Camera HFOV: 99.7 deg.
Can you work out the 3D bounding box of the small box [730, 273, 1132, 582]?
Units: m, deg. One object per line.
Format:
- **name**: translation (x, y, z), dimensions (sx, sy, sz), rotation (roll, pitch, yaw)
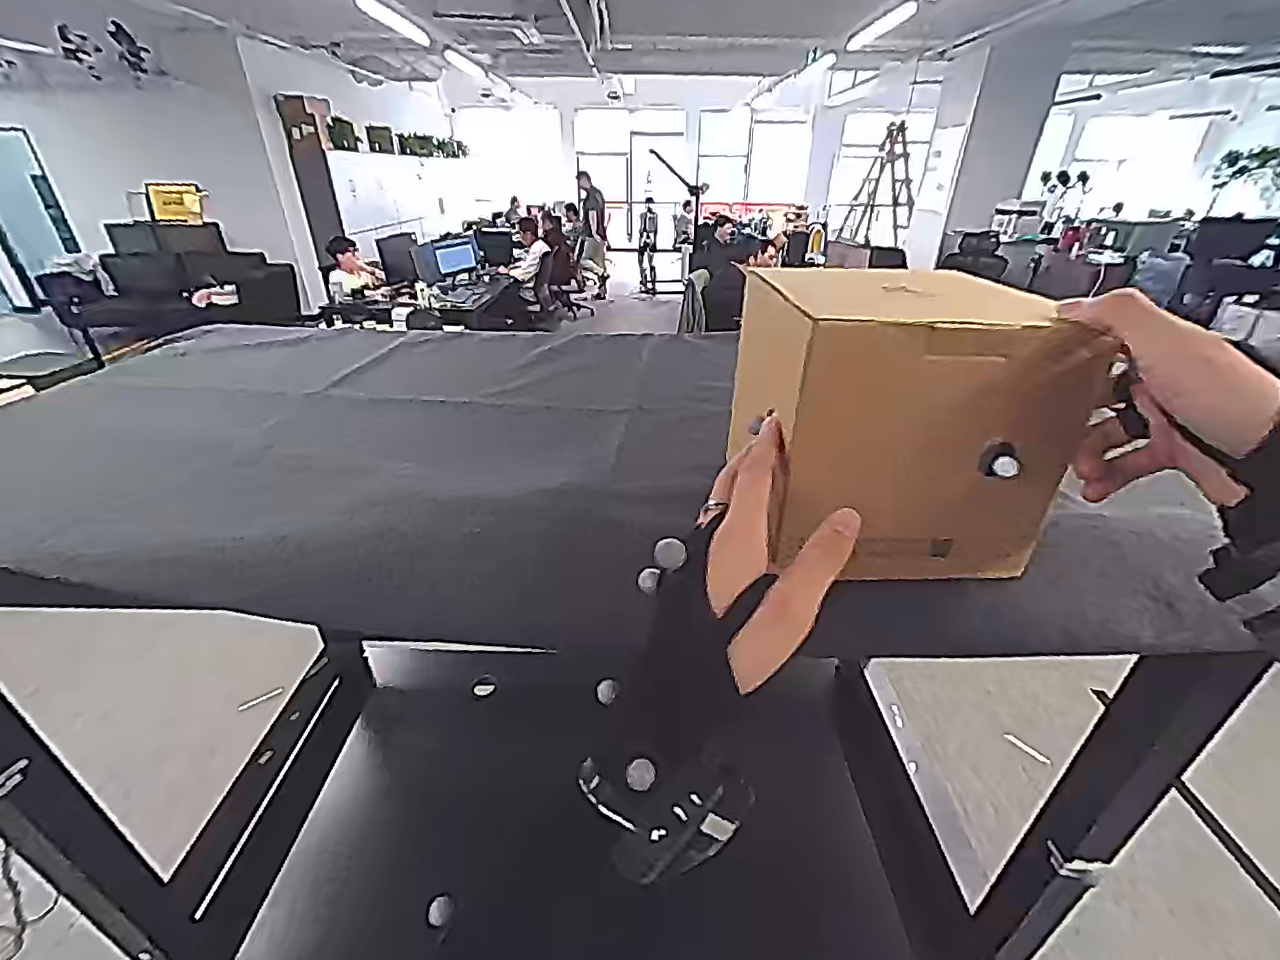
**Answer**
- **small box**: translation (0.164, -0.043, 0.379), dimensions (0.168, 0.176, 0.179), rotation (0, 29, -3)
